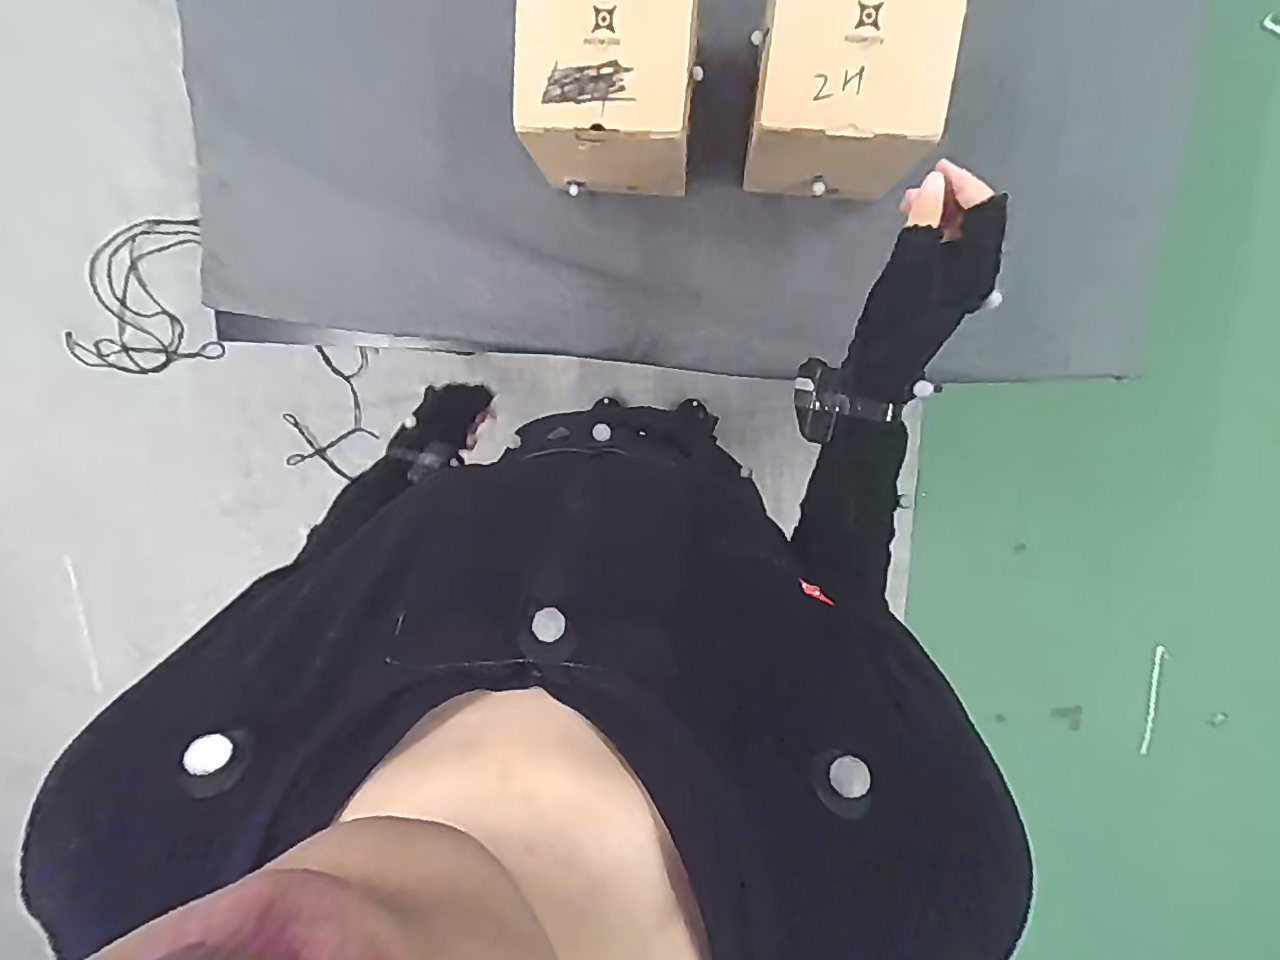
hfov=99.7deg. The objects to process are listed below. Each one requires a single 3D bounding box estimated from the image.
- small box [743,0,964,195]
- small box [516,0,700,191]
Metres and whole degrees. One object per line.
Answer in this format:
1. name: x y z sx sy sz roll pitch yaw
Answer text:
1. small box: 0.206 -0.423 0.562 0.168 0.176 0.179 10 104 4
2. small box: -0.025 -0.430 0.580 0.168 0.176 0.179 5 100 4
